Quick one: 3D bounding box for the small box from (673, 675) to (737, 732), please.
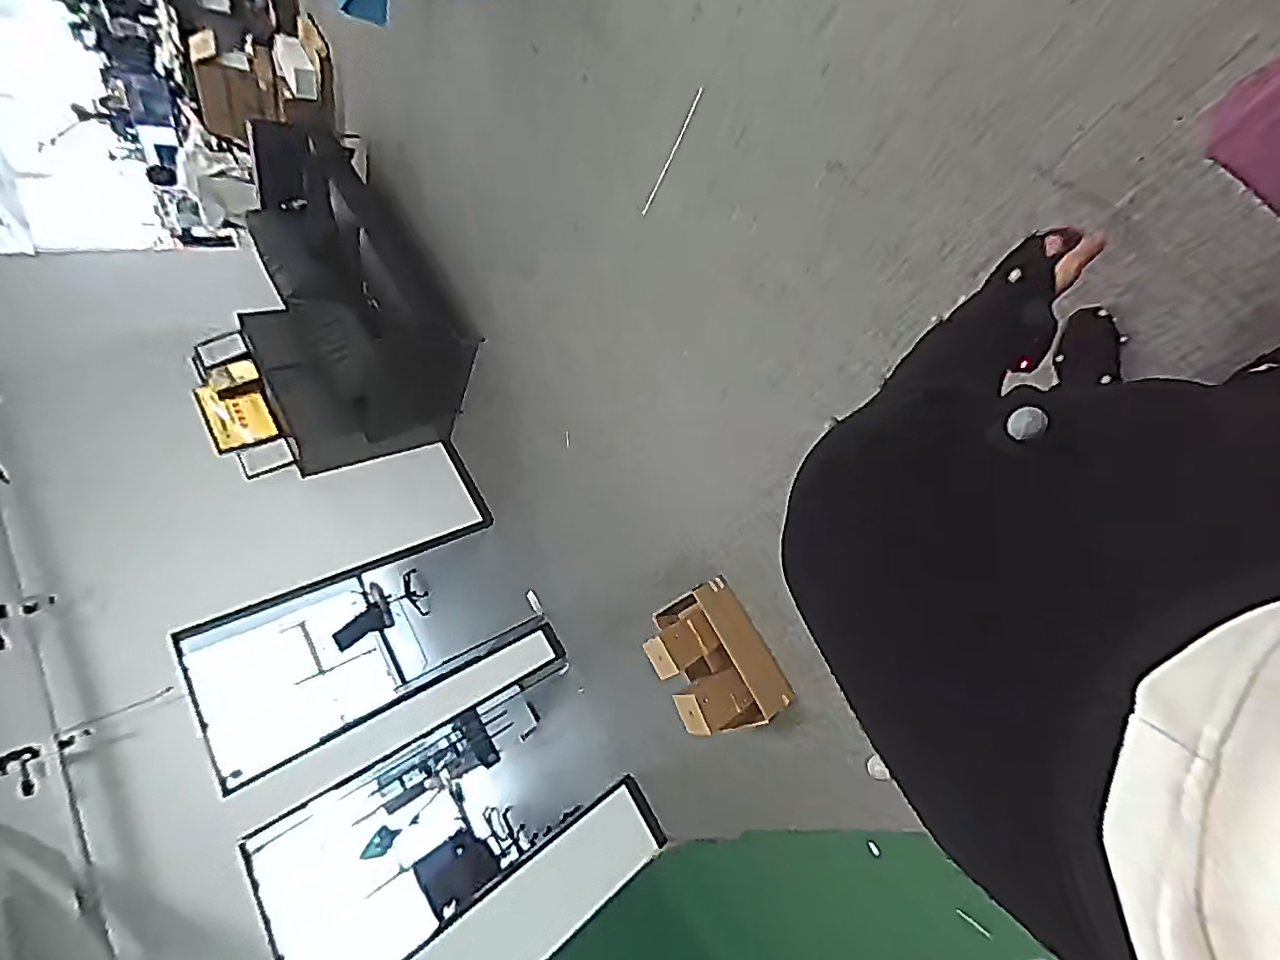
[{"bbox_3d":[0.278,0.947,2.306,0.168,0.176,0.179,-33,79,54],"label":"small box"}]
